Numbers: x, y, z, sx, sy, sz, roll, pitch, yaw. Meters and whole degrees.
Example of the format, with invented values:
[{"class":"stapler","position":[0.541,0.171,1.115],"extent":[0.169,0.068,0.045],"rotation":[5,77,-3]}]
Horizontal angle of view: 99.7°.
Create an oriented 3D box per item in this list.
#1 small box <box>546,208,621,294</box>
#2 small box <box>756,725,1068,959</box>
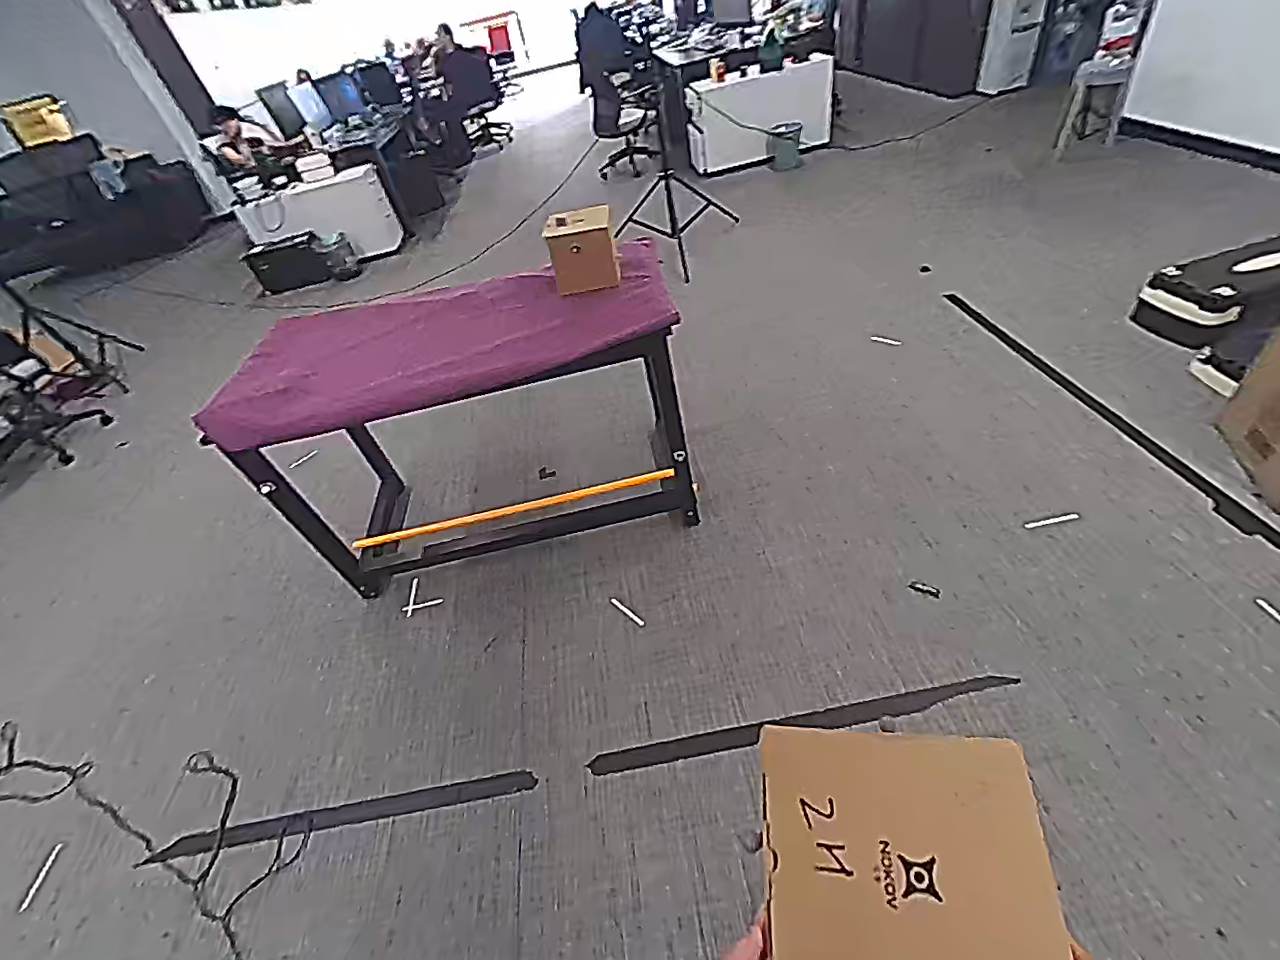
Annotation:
[{"class":"small box","position":[-0.155,-0.653,1.554],"extent":[0.179,0.176,0.168],"rotation":[-8,45,5]},{"class":"small box","position":[0.183,0.290,0.420],"extent":[0.179,0.176,0.168],"rotation":[-2,60,11]}]
